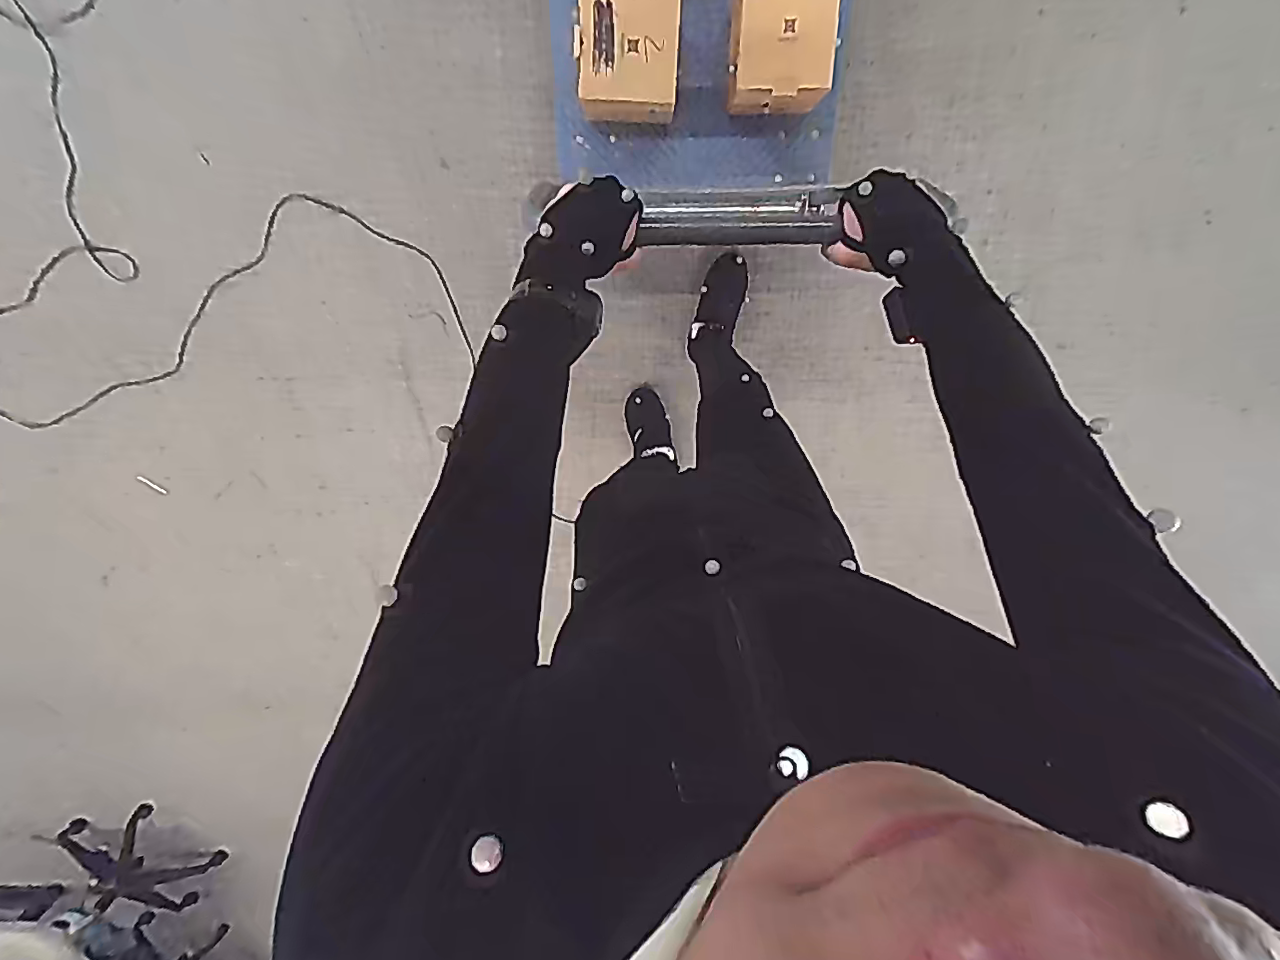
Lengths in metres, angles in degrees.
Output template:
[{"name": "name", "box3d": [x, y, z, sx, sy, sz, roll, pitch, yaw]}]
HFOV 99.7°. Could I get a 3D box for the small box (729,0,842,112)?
[{"name": "small box", "box3d": [0.260, -0.803, 0.998, 0.168, 0.176, 0.179, 0, 113, 2]}]
